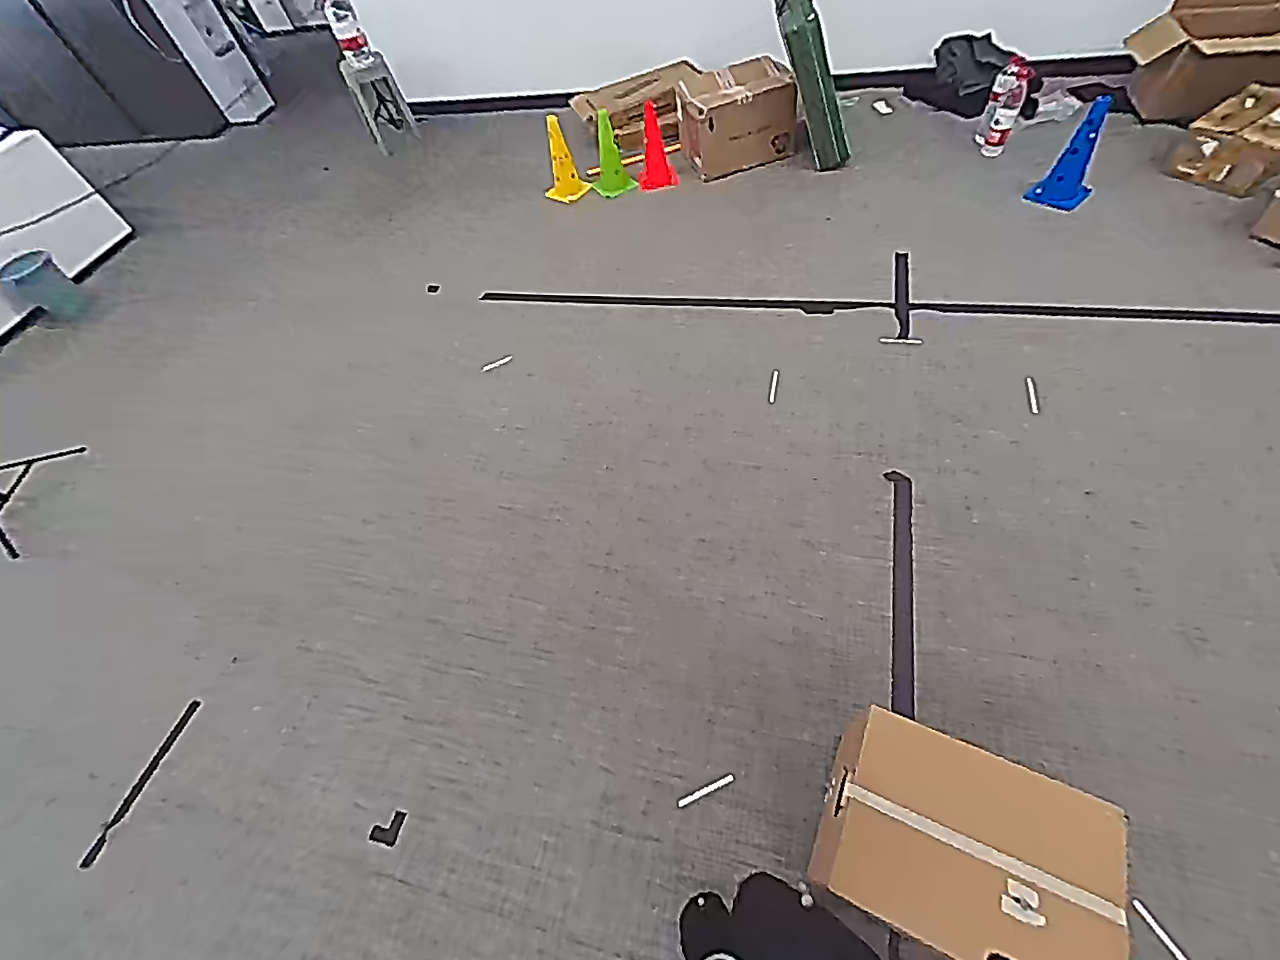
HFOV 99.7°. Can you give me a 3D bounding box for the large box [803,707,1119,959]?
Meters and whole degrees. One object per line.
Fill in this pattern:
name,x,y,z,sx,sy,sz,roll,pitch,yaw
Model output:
large box,0.553,0.679,0.996,0.408,0.320,0.320,19,61,20
